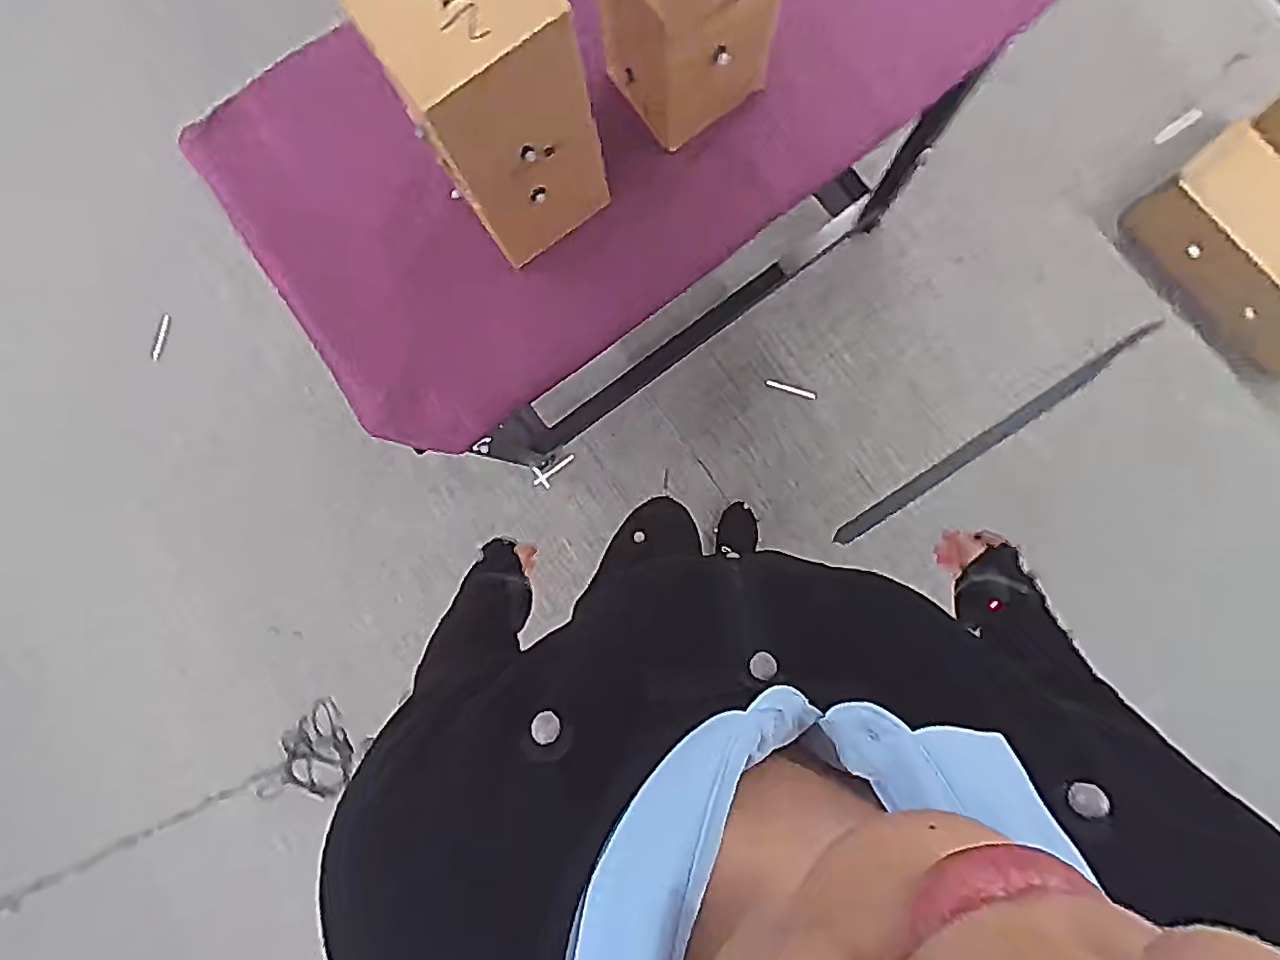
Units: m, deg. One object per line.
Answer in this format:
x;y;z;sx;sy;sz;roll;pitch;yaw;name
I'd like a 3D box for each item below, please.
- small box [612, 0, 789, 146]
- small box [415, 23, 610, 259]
0.071;-0.610;0.730;0.179;0.176;0.168;-34;86;2;small box
-0.158;-0.439;0.734;0.179;0.176;0.168;-35;86;0;small box
